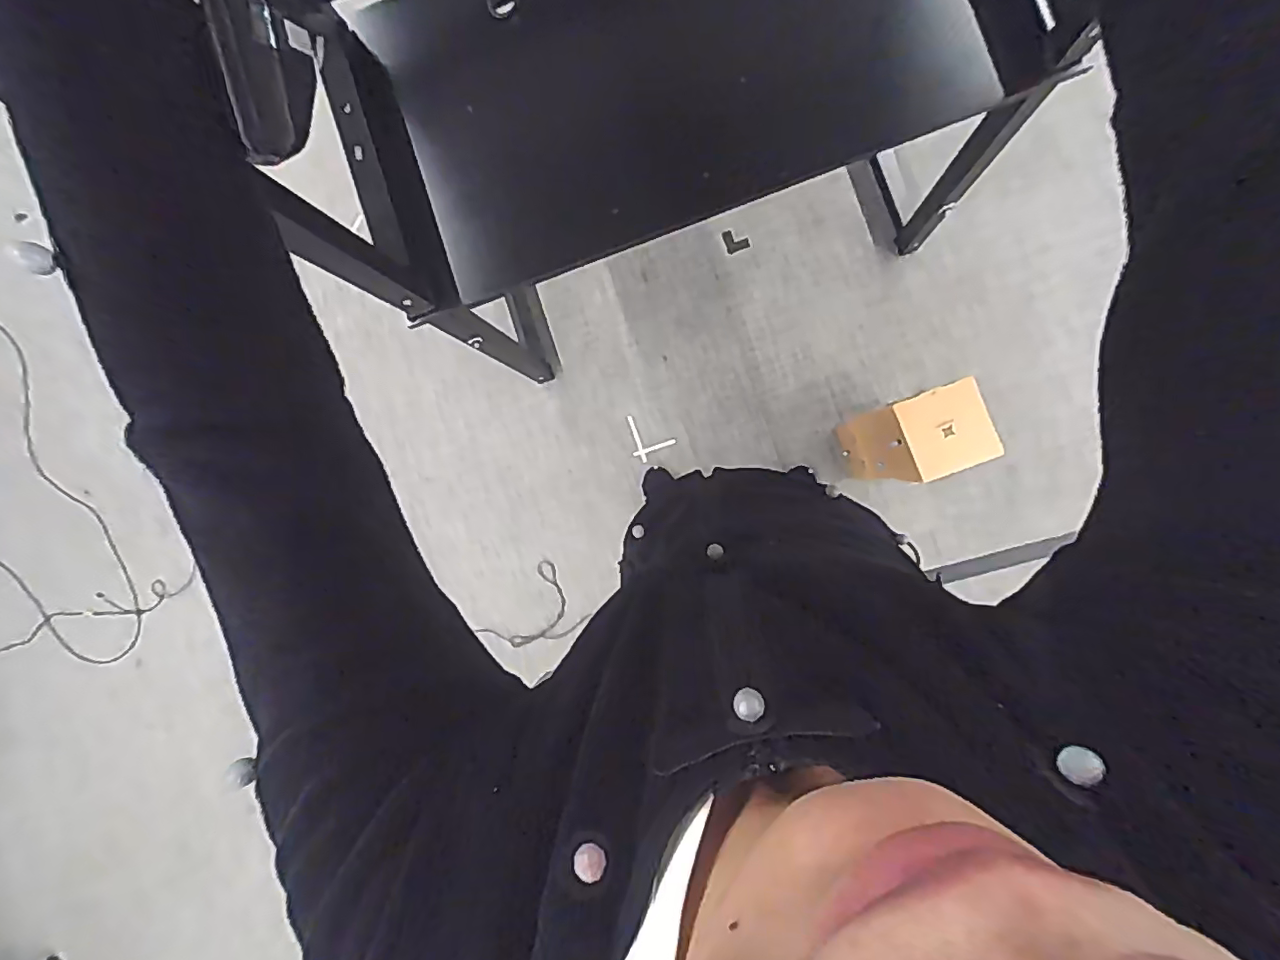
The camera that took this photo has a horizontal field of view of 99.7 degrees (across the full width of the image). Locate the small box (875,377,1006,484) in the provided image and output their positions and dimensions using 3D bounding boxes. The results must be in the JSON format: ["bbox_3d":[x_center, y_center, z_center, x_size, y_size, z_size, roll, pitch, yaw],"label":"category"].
[{"bbox_3d":[0.636,-0.101,1.166,0.168,0.176,0.179,-22,87,8],"label":"small box"}]

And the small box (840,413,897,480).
[{"bbox_3d":[0.679,-0.105,1.491,0.179,0.176,0.168,-20,87,8],"label":"small box"}]
